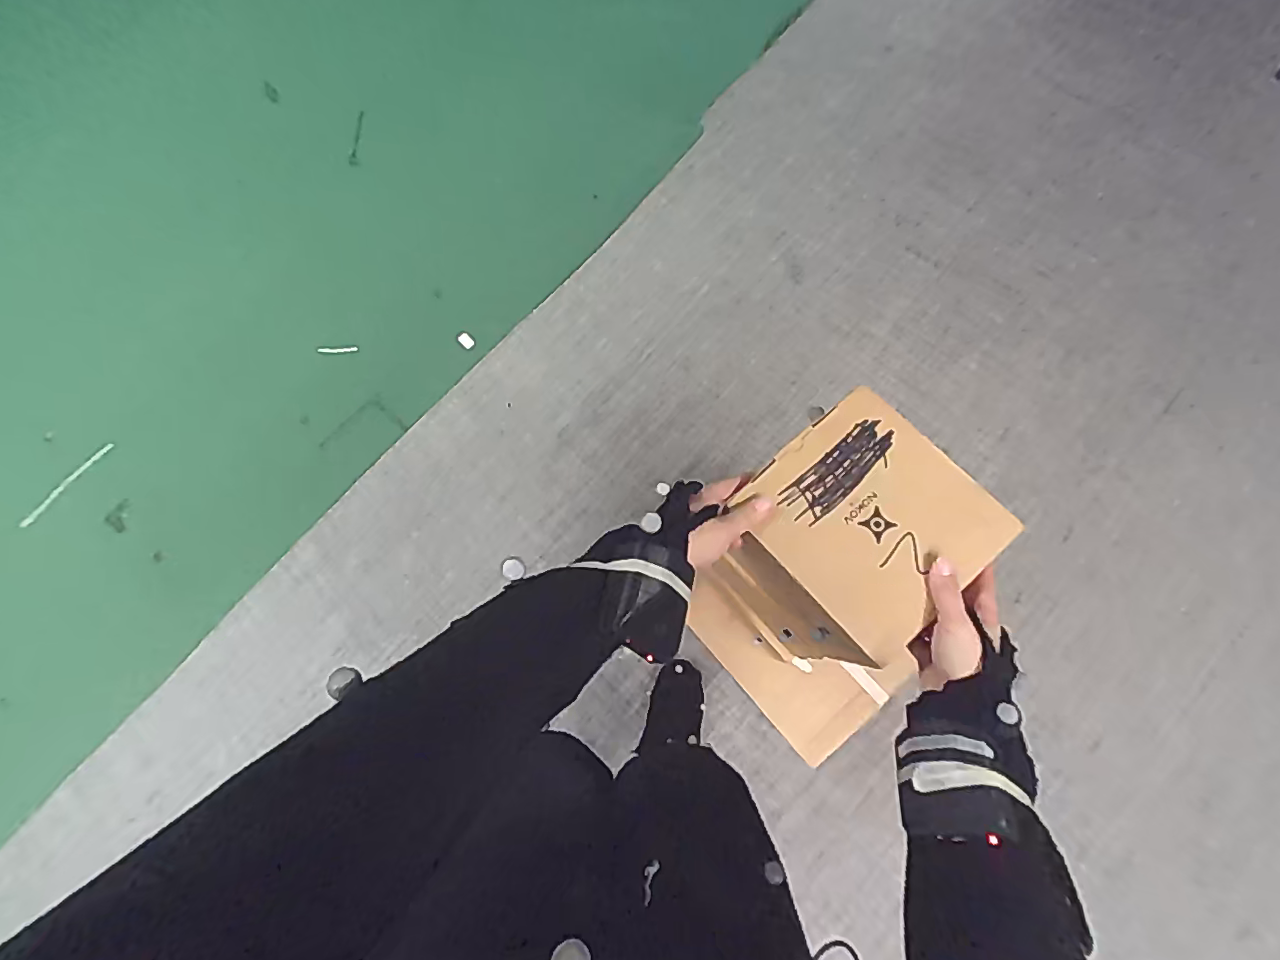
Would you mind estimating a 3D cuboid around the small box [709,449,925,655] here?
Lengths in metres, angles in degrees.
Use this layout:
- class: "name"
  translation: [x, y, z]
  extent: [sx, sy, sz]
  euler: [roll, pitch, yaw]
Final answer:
- class: "small box"
  translation: [0.200, 0.097, 0.674]
  extent: [0.168, 0.176, 0.179]
  euler: [-41, 75, -7]

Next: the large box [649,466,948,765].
- class: "large box"
  translation: [0.268, 0.244, 1.046]
  extent: [0.320, 0.320, 0.408]
  euler: [-42, 76, -4]

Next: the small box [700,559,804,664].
- class: "small box"
  translation: [0.210, 0.155, 0.825]
  extent: [0.168, 0.176, 0.179]
  euler: [-40, 73, -7]
